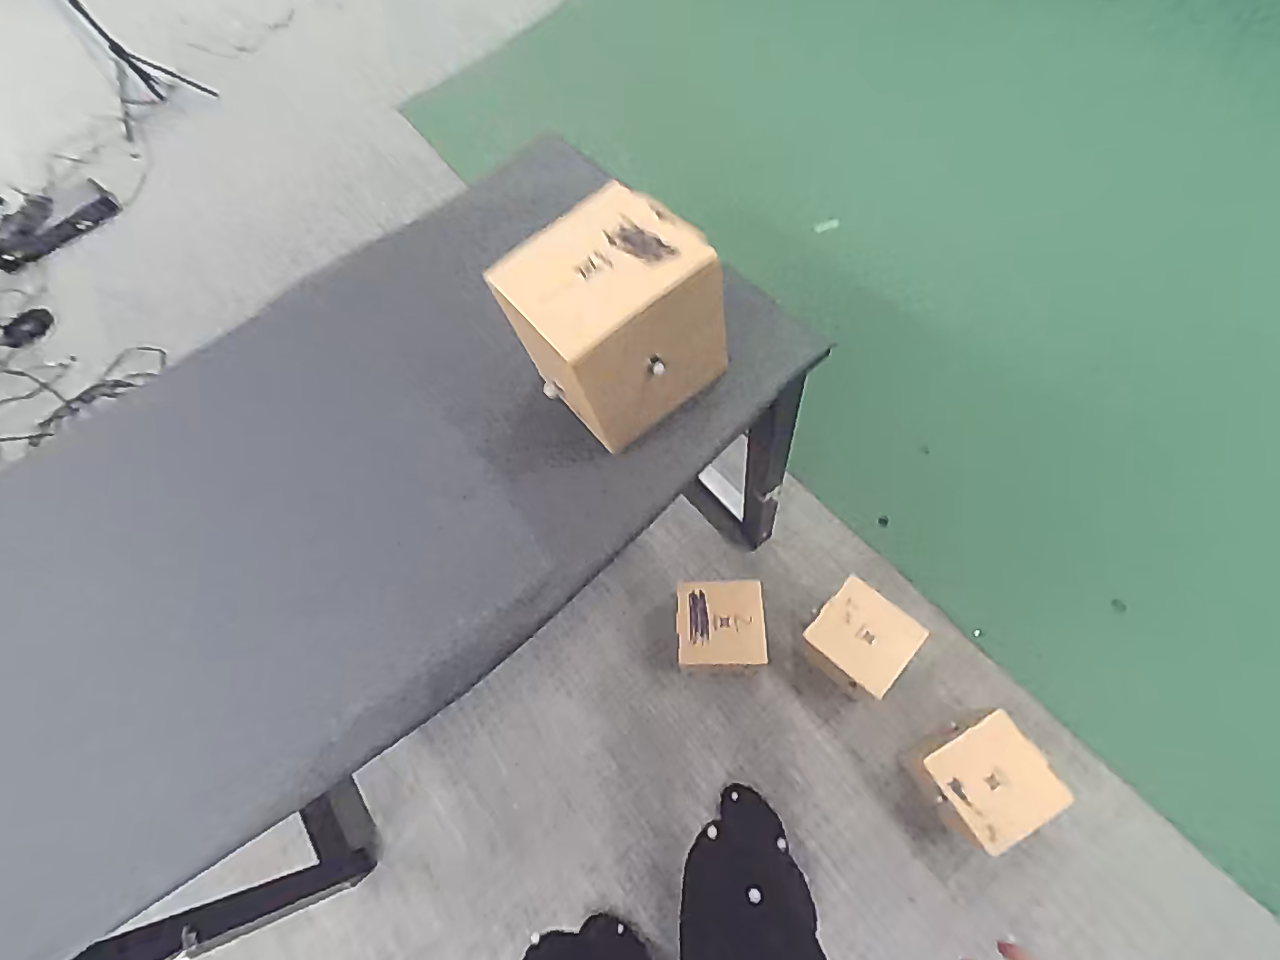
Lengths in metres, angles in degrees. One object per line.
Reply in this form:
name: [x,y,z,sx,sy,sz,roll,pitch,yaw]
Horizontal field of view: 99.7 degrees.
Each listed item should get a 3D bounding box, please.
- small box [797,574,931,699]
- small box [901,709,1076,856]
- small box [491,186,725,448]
small box: [0.446,0.324,1.107,0.179,0.176,0.168,40,78,22]
small box: [0.616,0.535,0.985,0.179,0.176,0.168,-30,66,-4]
small box: [-0.023,-0.170,0.591,0.179,0.176,0.168,-38,62,-7]
